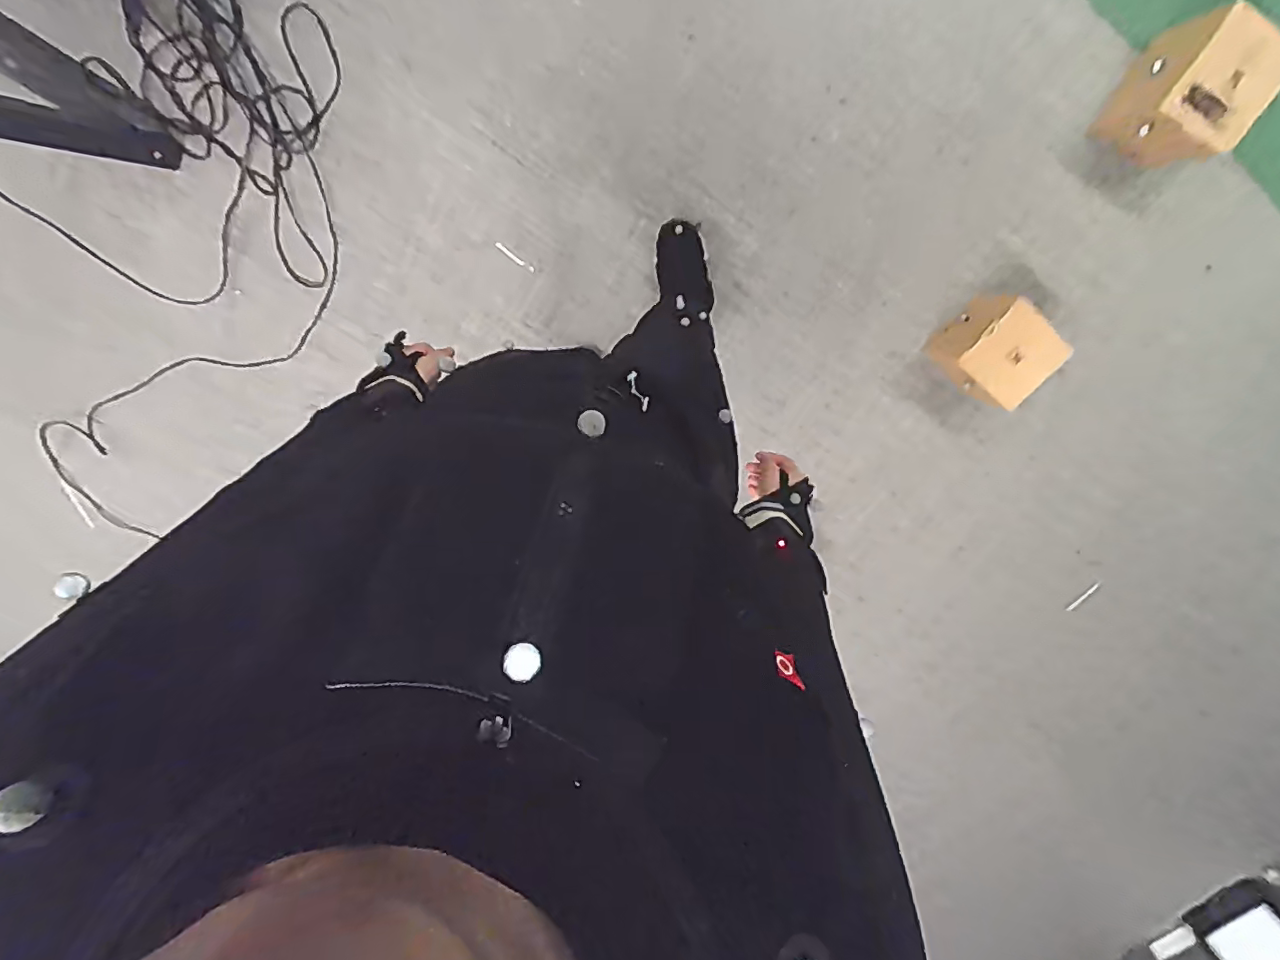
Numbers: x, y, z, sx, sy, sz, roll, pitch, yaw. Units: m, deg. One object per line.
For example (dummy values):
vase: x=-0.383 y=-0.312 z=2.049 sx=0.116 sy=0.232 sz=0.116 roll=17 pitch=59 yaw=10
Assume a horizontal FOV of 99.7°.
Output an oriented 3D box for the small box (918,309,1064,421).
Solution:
small box: x=0.769 y=-0.264 z=1.203 sx=0.179 sy=0.176 sz=0.168 roll=37 pitch=107 yaw=-11
